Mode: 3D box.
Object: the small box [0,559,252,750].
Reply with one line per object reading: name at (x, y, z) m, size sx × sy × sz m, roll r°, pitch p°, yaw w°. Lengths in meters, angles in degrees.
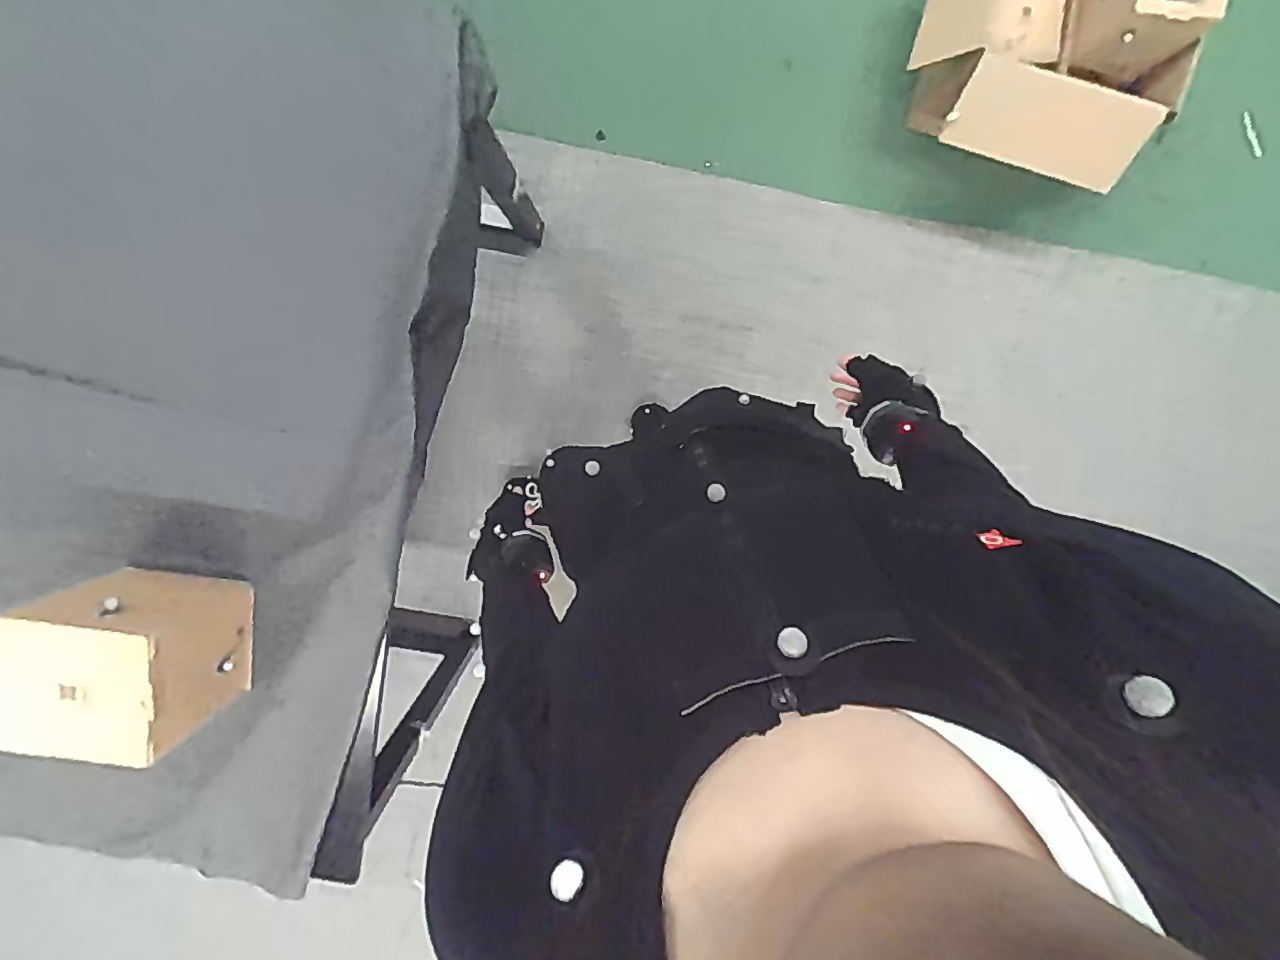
small box at (-0.645, 0.209, 0.692) m, size 0.179 × 0.176 × 0.168 m, roll 8°, pitch 99°, yaw -3°
